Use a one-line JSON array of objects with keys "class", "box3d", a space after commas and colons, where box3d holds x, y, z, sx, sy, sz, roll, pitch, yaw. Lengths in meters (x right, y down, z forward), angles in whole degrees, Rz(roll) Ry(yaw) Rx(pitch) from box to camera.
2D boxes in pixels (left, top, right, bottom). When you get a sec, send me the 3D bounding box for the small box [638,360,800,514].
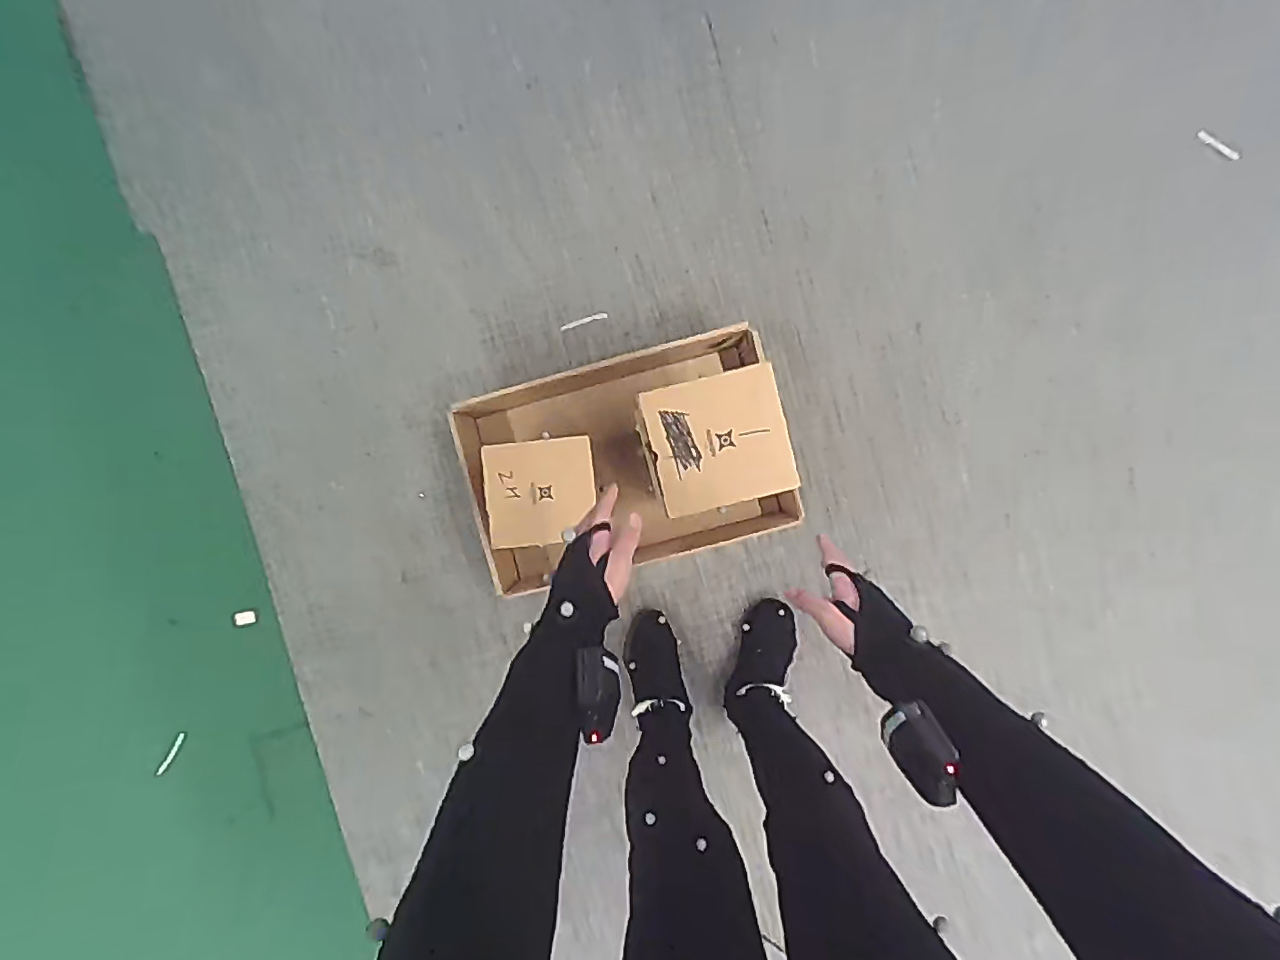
[{"class": "small box", "box3d": [0.103, -0.054, 0.759, 0.179, 0.176, 0.168, -14, 92, 2]}]
